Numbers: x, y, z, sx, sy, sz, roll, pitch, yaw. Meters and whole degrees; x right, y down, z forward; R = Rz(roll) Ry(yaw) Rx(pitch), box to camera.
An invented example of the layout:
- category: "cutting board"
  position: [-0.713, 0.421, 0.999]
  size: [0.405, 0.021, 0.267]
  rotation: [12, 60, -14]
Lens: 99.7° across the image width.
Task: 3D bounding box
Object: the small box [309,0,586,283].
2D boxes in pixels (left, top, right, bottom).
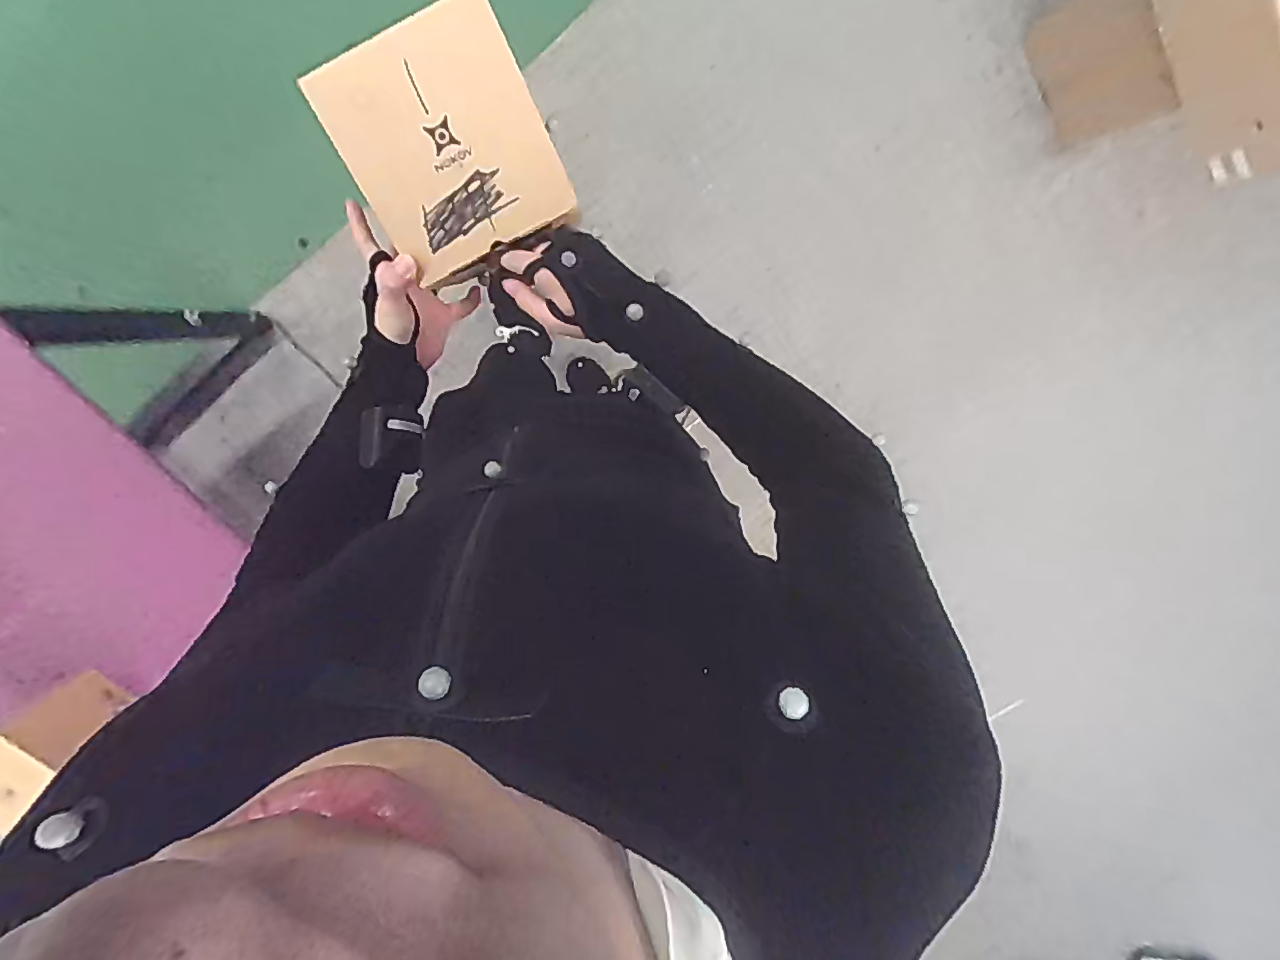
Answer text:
- category: "small box"
  position: [-0.158, -0.310, 0.520]
  size: [0.168, 0.176, 0.179]
  rotation: [-24, 112, 4]

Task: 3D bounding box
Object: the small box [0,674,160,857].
- category: "small box"
  position: [-0.982, 0.471, 0.911]
  size: [0.179, 0.176, 0.168]
  rotation: [-41, 104, 8]
